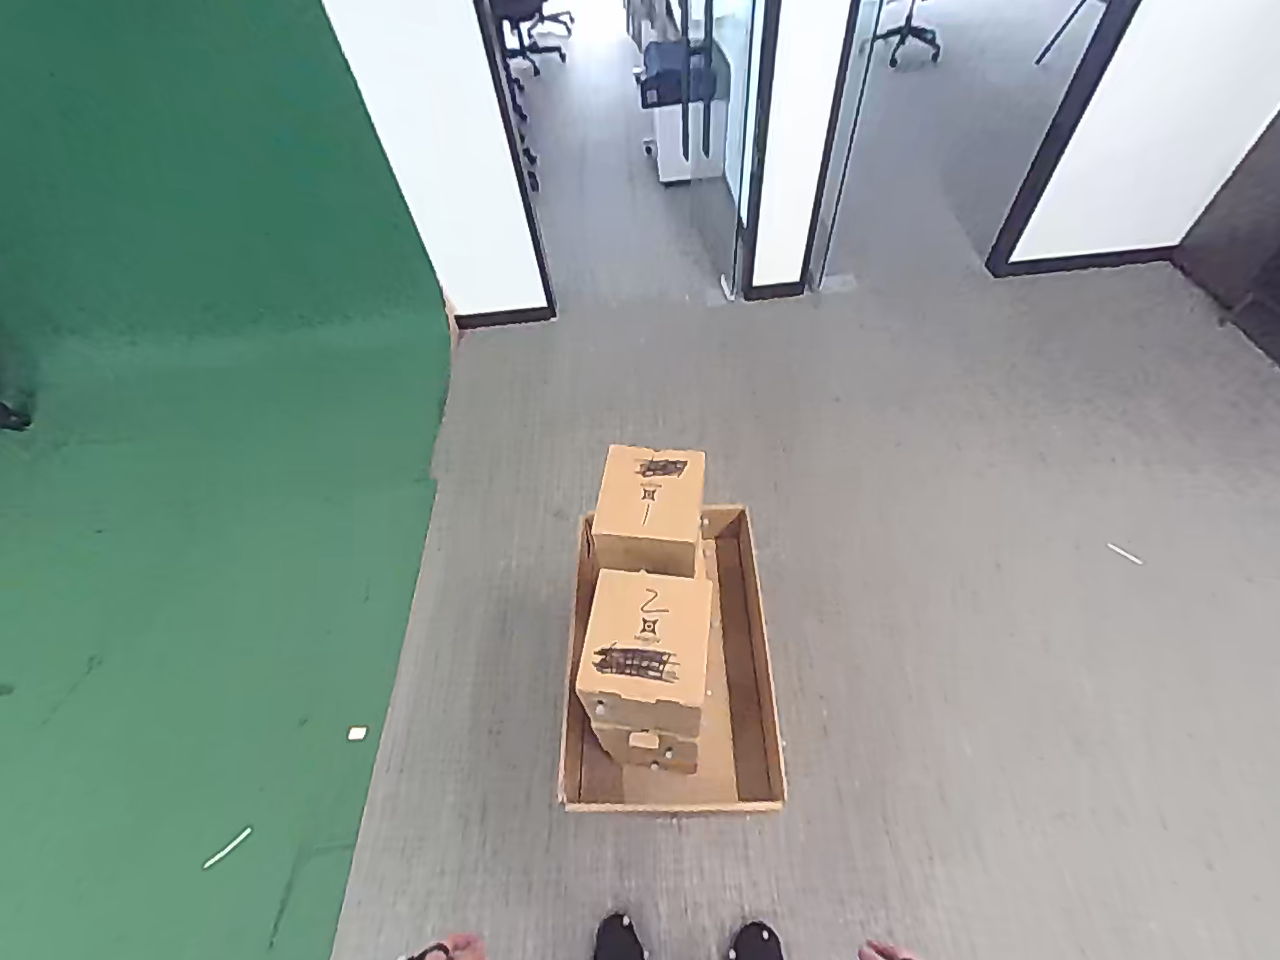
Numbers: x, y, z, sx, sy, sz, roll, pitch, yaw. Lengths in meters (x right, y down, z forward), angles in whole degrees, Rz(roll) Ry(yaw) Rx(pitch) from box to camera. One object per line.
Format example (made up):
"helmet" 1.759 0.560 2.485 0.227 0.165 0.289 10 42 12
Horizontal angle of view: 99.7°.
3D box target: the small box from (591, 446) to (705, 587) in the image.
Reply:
"small box" 0.021 0.064 0.937 0.168 0.176 0.179 5 56 8

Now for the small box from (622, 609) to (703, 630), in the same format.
"small box" 0.049 0.257 1.198 0.168 0.176 0.179 -3 54 3

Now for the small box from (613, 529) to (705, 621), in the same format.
"small box" 0.036 0.164 1.066 0.168 0.176 0.179 -3 55 2

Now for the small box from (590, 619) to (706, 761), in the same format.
"small box" 0.023 0.358 0.915 0.168 0.176 0.179 5 52 8
